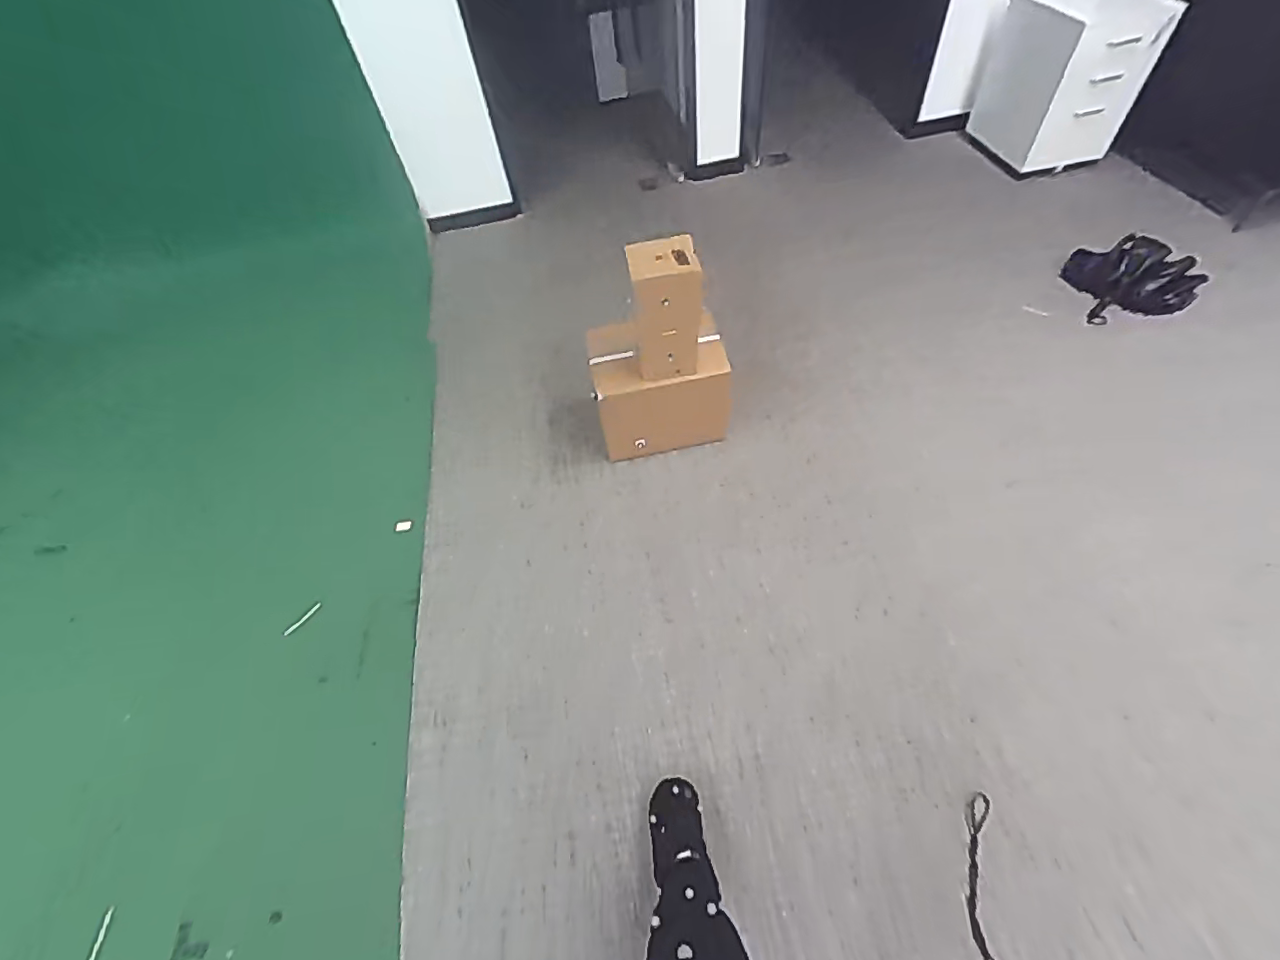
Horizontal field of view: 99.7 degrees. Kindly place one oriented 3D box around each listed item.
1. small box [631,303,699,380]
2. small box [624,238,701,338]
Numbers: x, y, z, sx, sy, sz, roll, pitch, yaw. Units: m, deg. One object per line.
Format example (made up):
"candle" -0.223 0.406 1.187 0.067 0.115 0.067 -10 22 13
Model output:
"small box" 0.074 -0.406 1.556 0.168 0.176 0.179 -10 54 1
"small box" 0.062 -0.501 1.421 0.179 0.176 0.168 -11 53 2
